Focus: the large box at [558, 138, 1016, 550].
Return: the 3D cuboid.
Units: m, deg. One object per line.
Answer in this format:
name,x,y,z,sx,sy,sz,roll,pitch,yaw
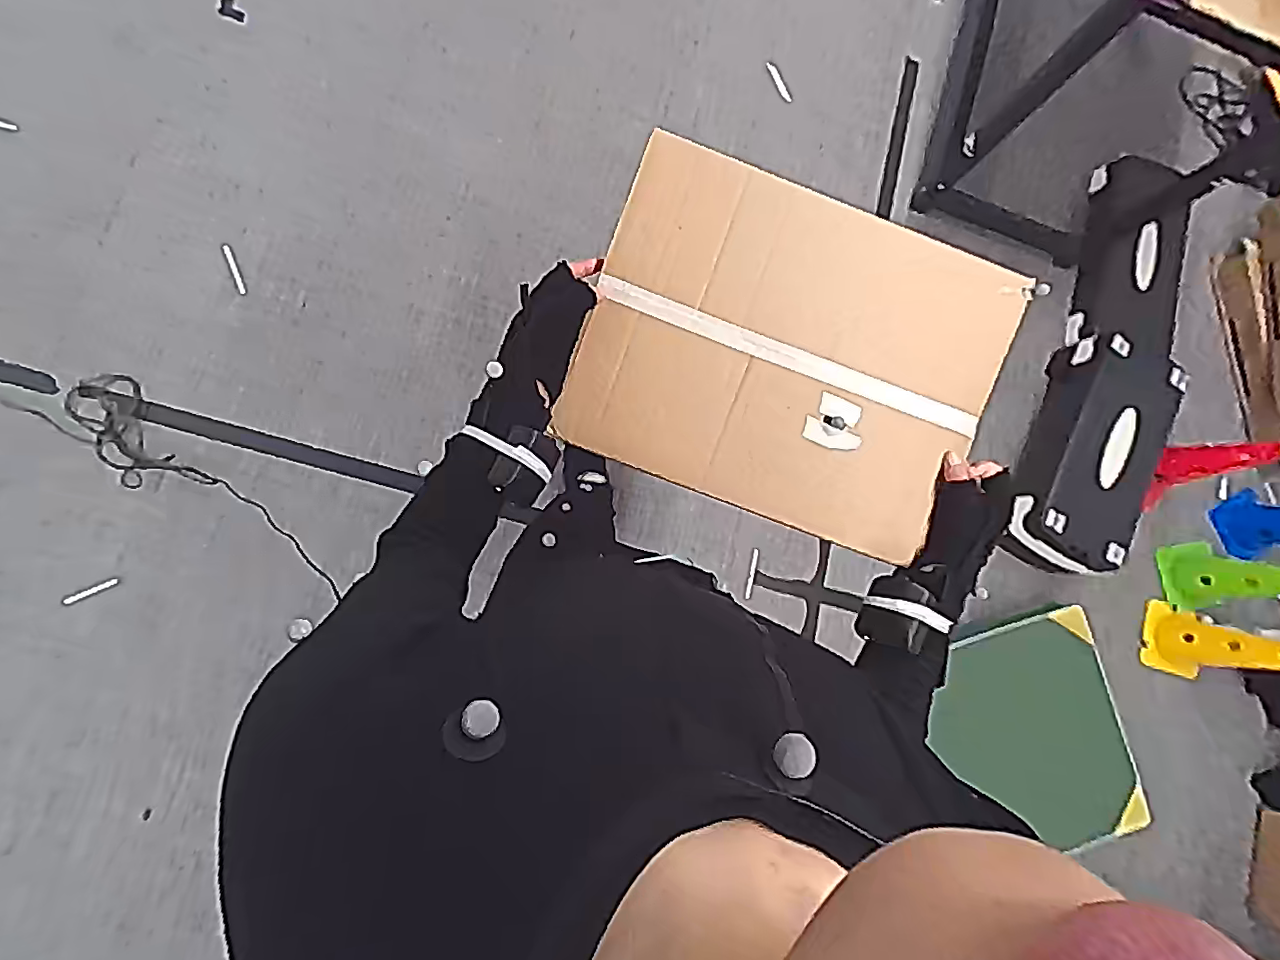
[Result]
large box,0.144,-0.144,0.701,0.408,0.320,0.320,21,95,-3
